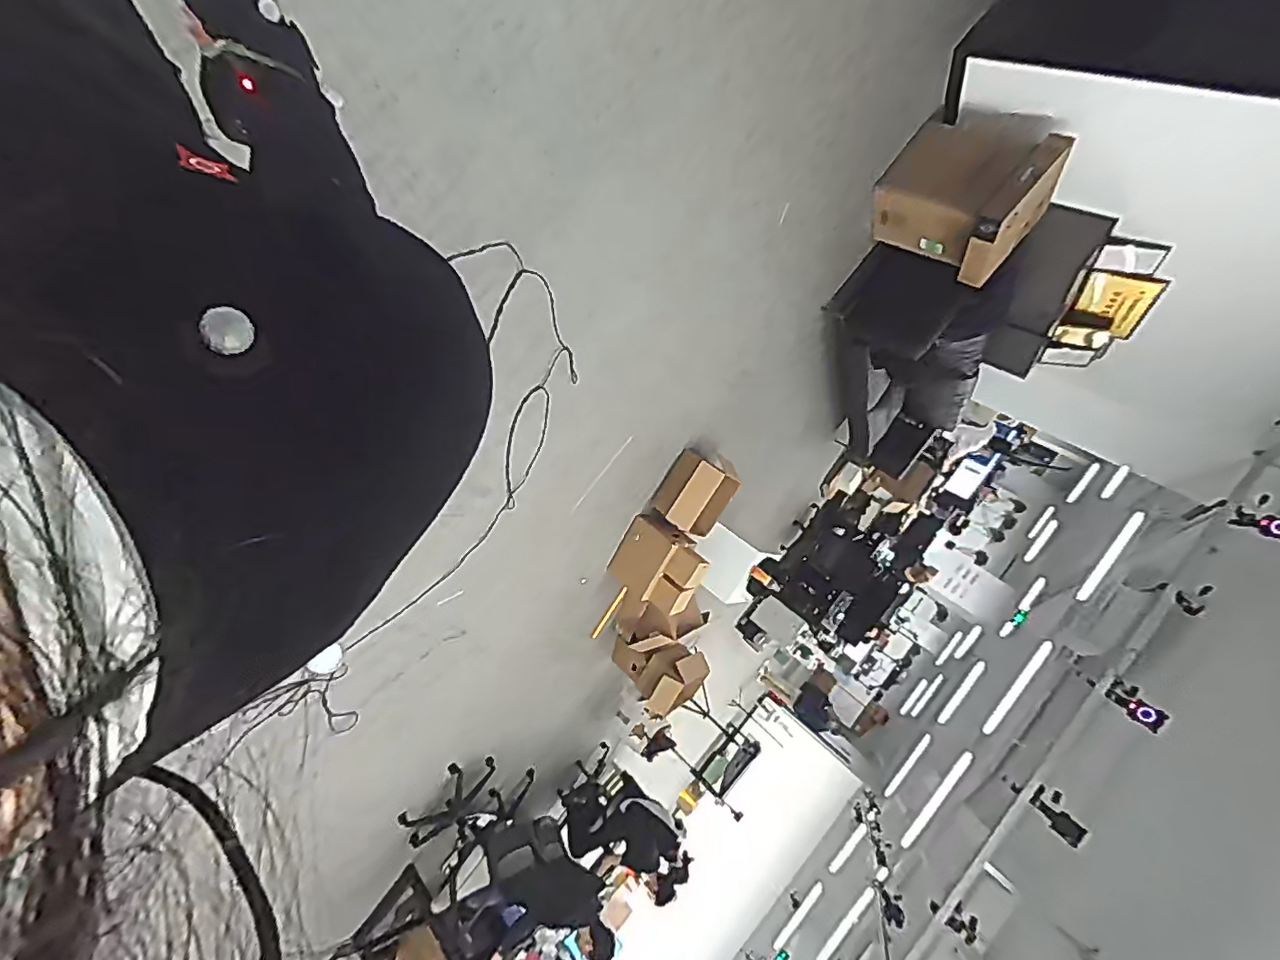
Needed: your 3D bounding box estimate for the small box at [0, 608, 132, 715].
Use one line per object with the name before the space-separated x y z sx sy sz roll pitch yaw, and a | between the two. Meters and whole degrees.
small box | -1.384 0.425 1.297 0.179 0.176 0.168 -54 151 3
